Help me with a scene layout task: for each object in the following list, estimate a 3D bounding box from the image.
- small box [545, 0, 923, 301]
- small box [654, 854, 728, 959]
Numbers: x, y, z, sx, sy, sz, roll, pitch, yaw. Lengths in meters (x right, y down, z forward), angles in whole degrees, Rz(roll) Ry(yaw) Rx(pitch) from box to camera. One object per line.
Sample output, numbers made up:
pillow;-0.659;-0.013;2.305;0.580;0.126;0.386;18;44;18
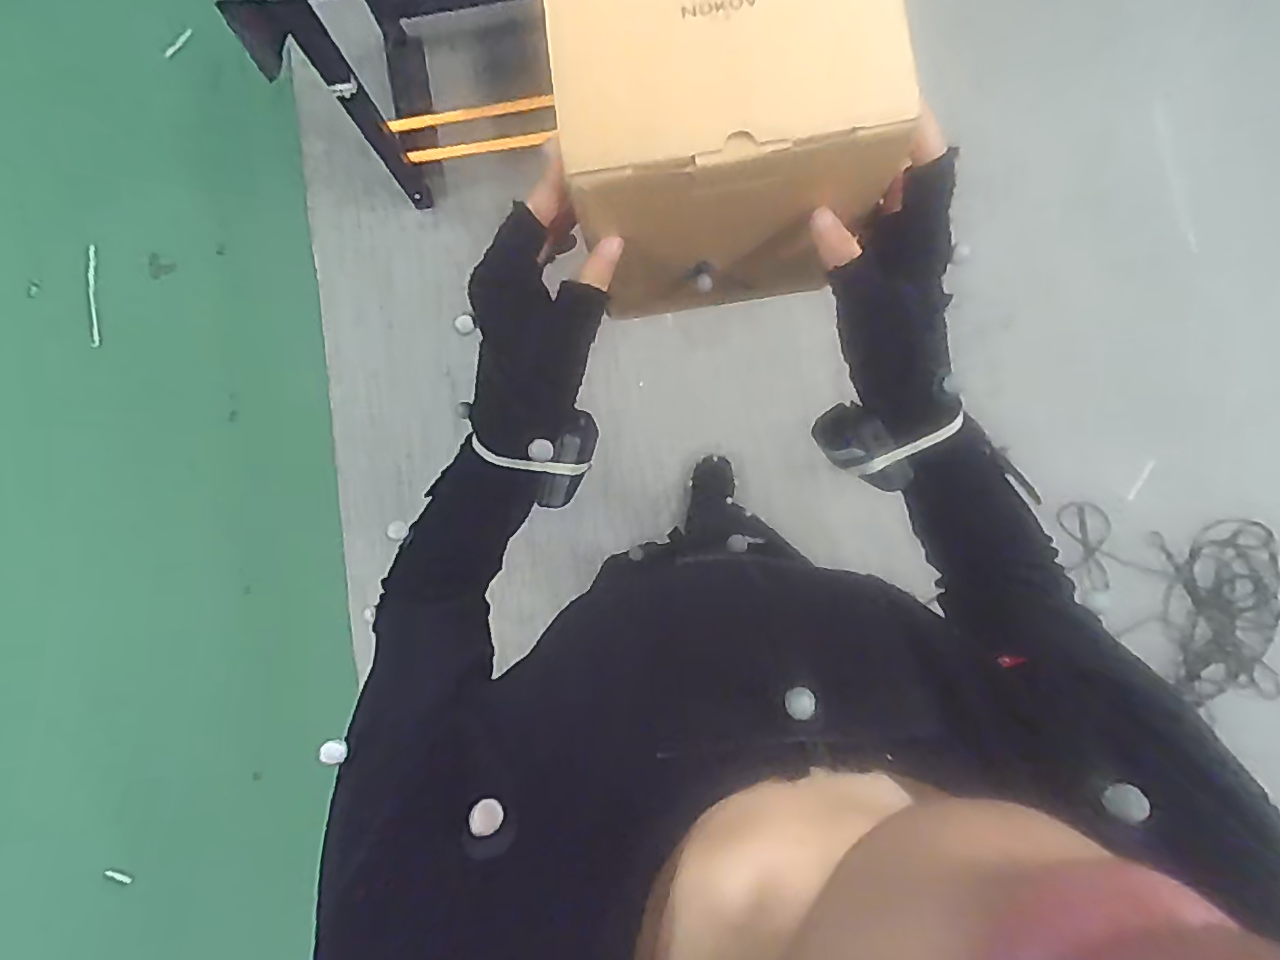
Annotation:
small box;0.039;-0.235;0.330;0.168;0.176;0.179;-8;84;3
small box;0.119;1.041;1.298;0.168;0.176;0.179;-1;83;0
